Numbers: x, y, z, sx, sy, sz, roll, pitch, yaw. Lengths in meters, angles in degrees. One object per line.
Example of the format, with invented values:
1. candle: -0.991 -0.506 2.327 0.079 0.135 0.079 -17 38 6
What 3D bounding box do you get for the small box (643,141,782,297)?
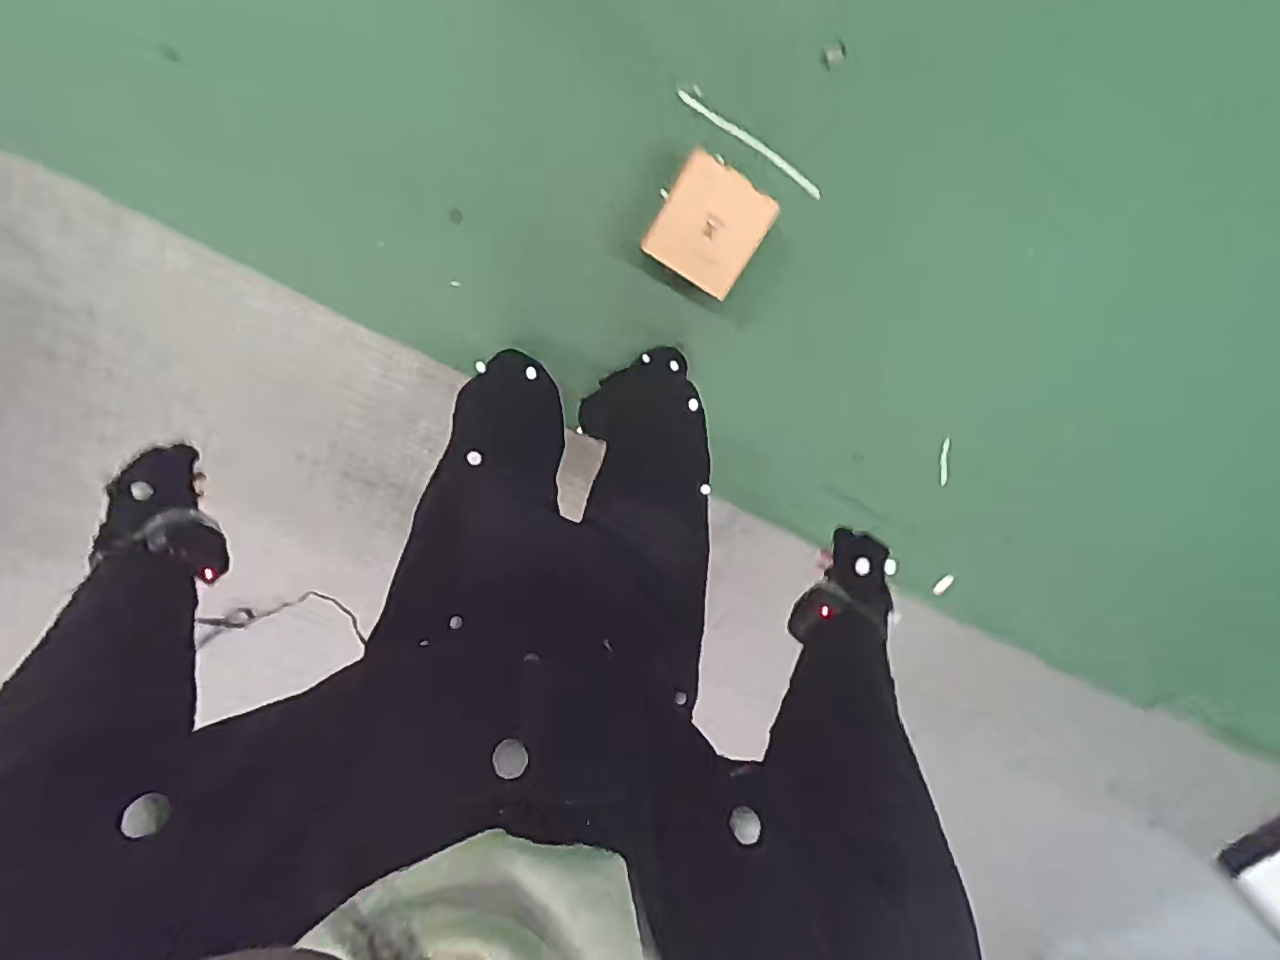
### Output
1. small box: 0.115 -0.455 0.951 0.168 0.176 0.179 30 113 -14
